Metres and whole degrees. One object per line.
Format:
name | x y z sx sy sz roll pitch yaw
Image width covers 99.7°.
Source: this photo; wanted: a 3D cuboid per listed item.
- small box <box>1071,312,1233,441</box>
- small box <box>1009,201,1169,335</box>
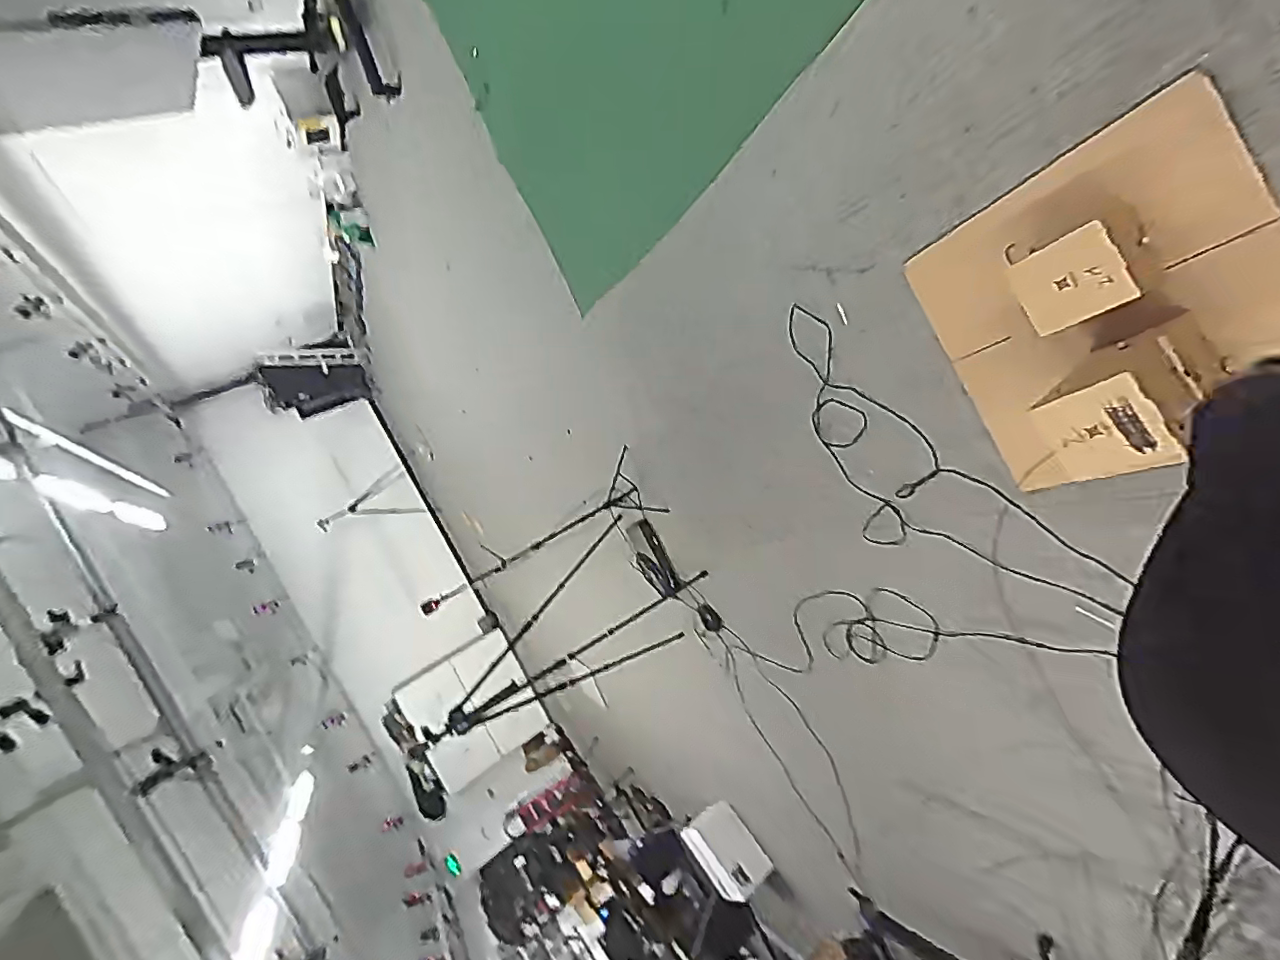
small box | 1.031 -0.209 1.086 0.168 0.176 0.179 59 152 3
small box | 0.906 -0.426 1.093 0.168 0.176 0.179 59 151 -1
